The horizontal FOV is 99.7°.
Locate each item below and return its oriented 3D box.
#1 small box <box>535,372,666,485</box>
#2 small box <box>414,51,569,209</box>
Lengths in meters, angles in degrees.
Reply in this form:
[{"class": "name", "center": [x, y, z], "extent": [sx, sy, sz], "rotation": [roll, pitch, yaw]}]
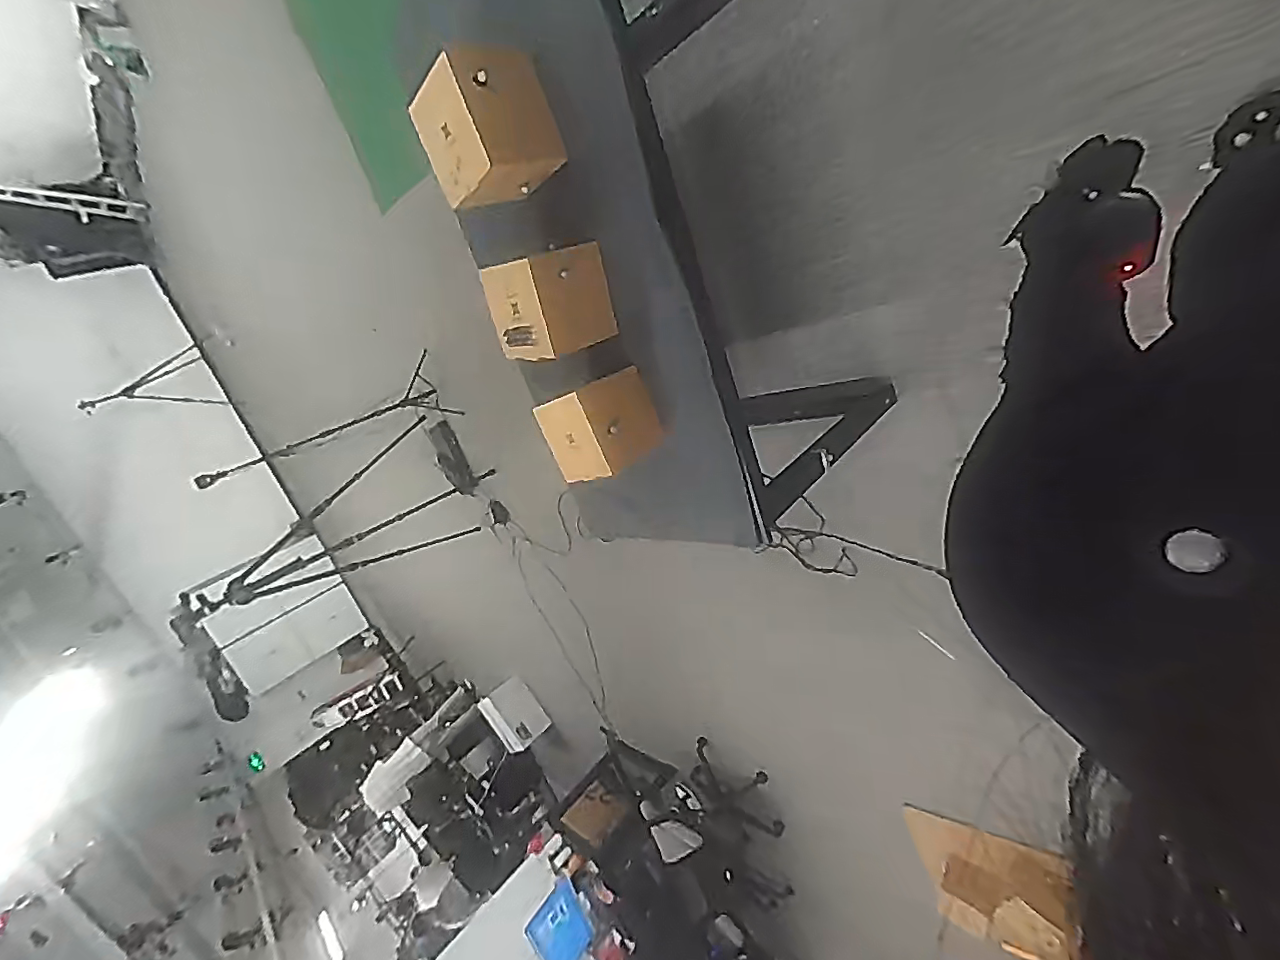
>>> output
[{"class": "small box", "center": [-0.078, -0.109, 1.114], "extent": [0.168, 0.176, 0.179], "rotation": [-9, 109, 50]}, {"class": "small box", "center": [-0.256, -0.605, 0.950], "extent": [0.168, 0.176, 0.179], "rotation": [-4, 113, 49]}]
